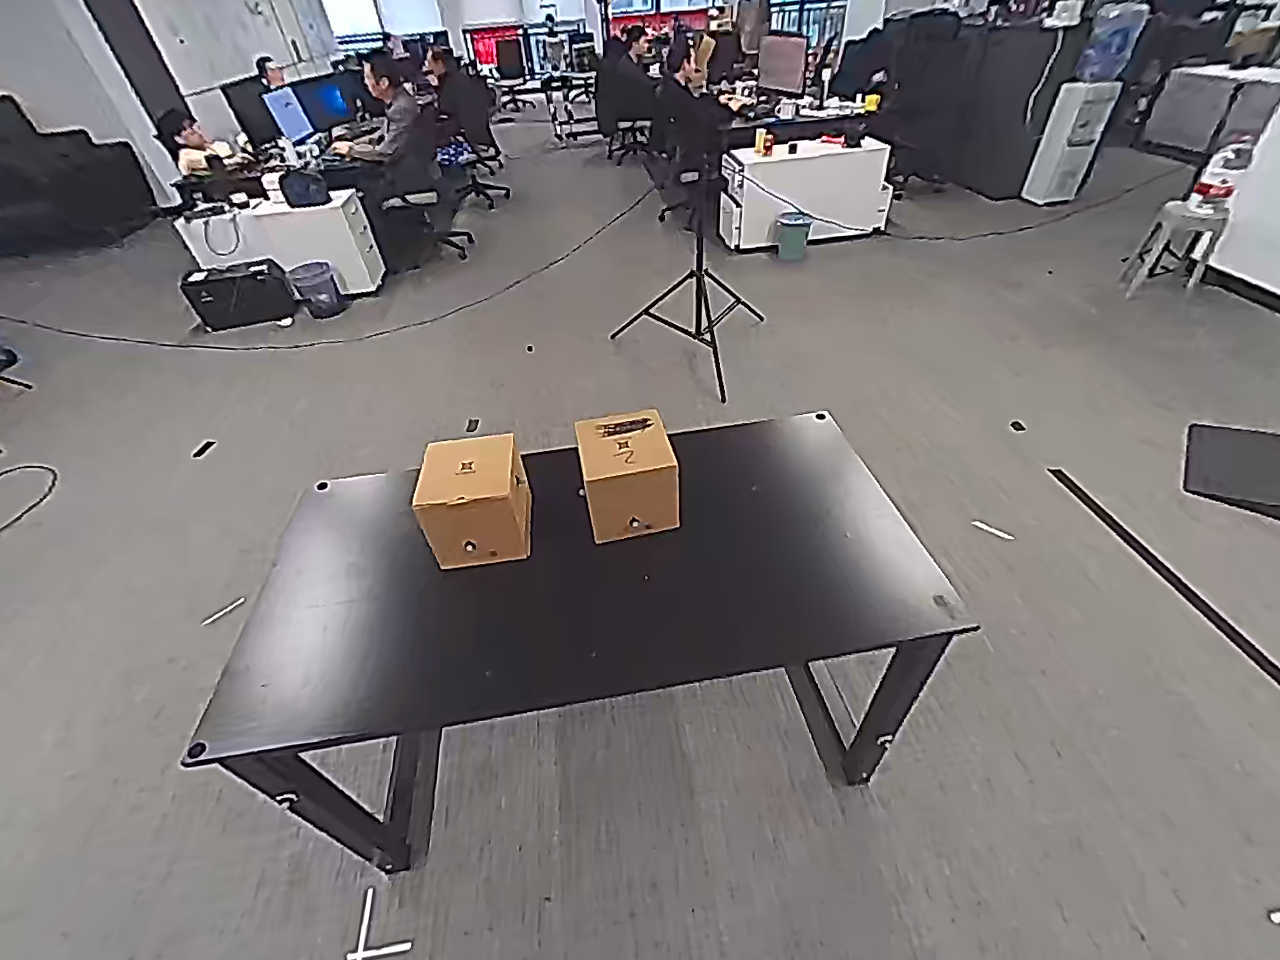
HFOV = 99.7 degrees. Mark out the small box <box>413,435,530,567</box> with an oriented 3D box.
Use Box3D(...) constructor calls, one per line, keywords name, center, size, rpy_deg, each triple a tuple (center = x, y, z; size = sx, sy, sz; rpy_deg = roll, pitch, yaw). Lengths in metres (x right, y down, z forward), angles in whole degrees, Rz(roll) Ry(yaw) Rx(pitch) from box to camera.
Box3D(name="small box", center=(-0.307, 0.039, 1.026), size=(0.168, 0.176, 0.179), rpy_deg=(-8, 43, -3))
